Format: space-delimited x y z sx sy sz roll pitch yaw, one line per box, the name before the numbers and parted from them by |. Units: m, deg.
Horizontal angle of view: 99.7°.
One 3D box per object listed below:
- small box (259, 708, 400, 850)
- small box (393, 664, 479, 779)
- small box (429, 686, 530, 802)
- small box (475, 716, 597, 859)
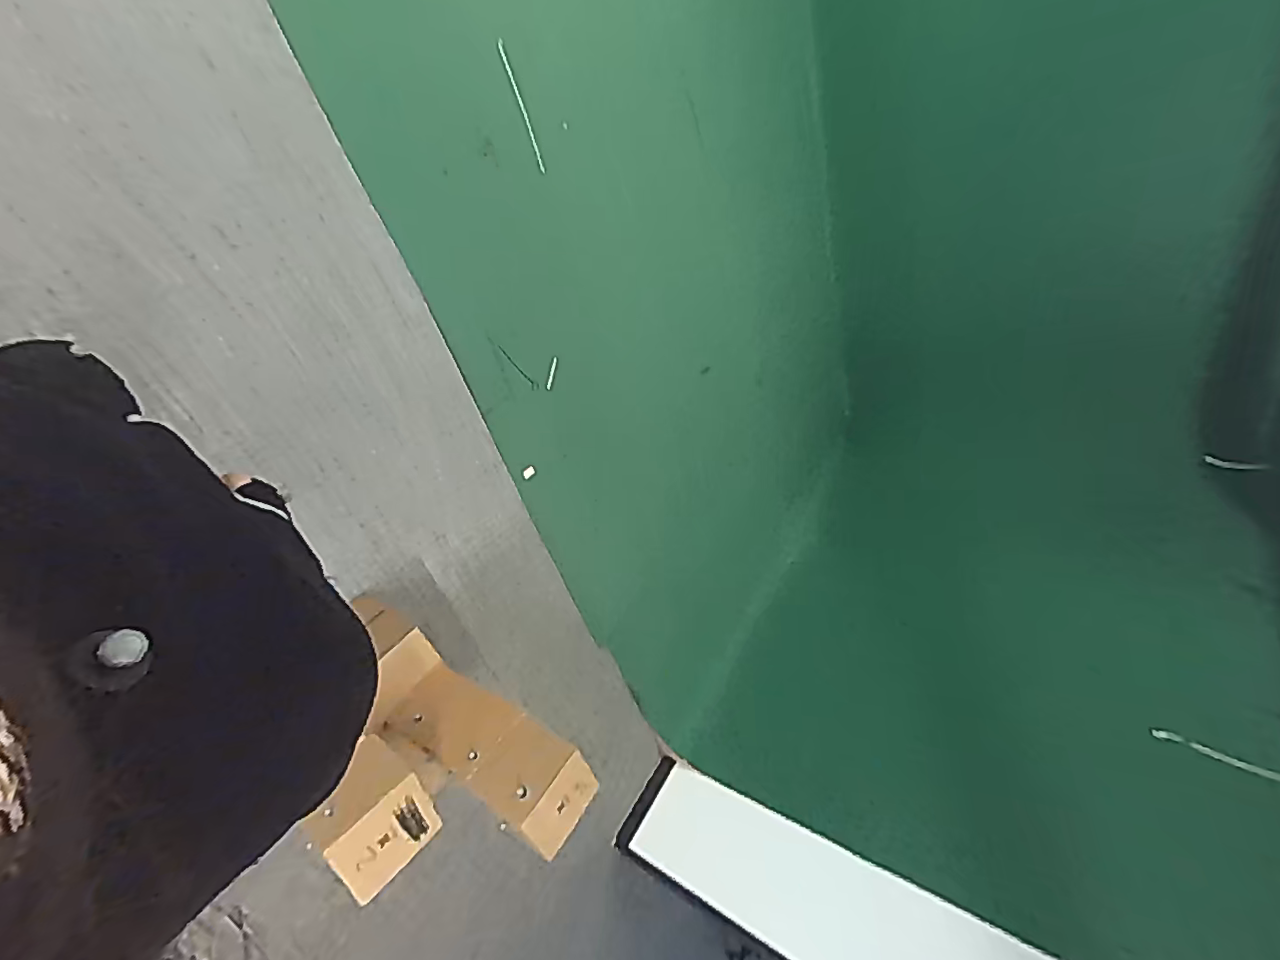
small box | -0.653 0.619 1.141 0.168 0.176 0.179 -42 129 -38
small box | -0.485 0.598 1.355 0.179 0.176 0.168 -49 134 -35
small box | -0.353 0.619 1.263 0.179 0.176 0.168 -46 133 -35
small box | -0.227 0.652 1.162 0.179 0.176 0.168 -46 133 -36
